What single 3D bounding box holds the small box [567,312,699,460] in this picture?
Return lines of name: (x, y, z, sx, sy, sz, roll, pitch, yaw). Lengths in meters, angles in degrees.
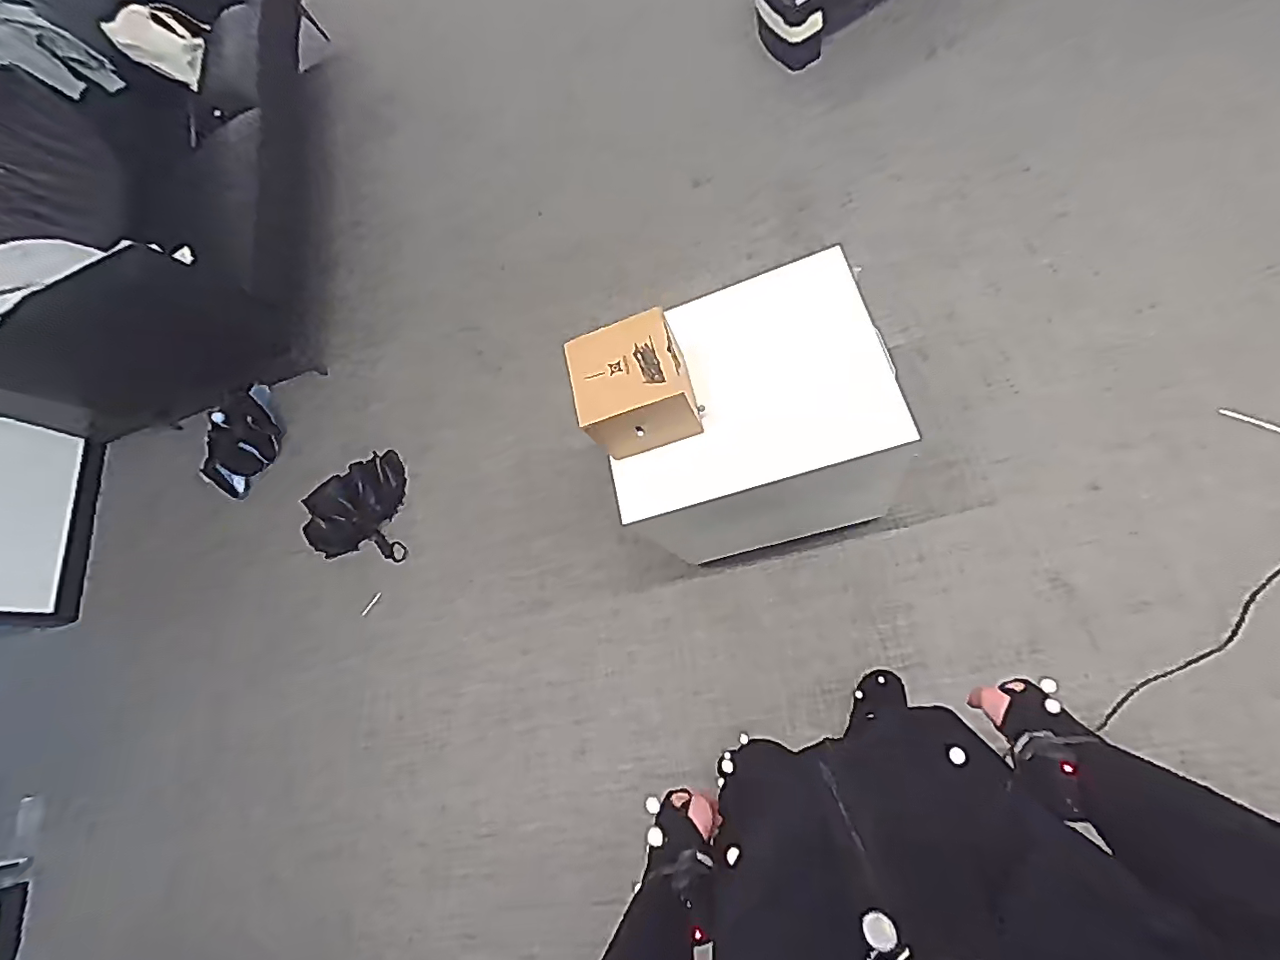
small box: (-0.004, -0.152, 0.936, 0.179, 0.176, 0.168, -17, 69, 14)
